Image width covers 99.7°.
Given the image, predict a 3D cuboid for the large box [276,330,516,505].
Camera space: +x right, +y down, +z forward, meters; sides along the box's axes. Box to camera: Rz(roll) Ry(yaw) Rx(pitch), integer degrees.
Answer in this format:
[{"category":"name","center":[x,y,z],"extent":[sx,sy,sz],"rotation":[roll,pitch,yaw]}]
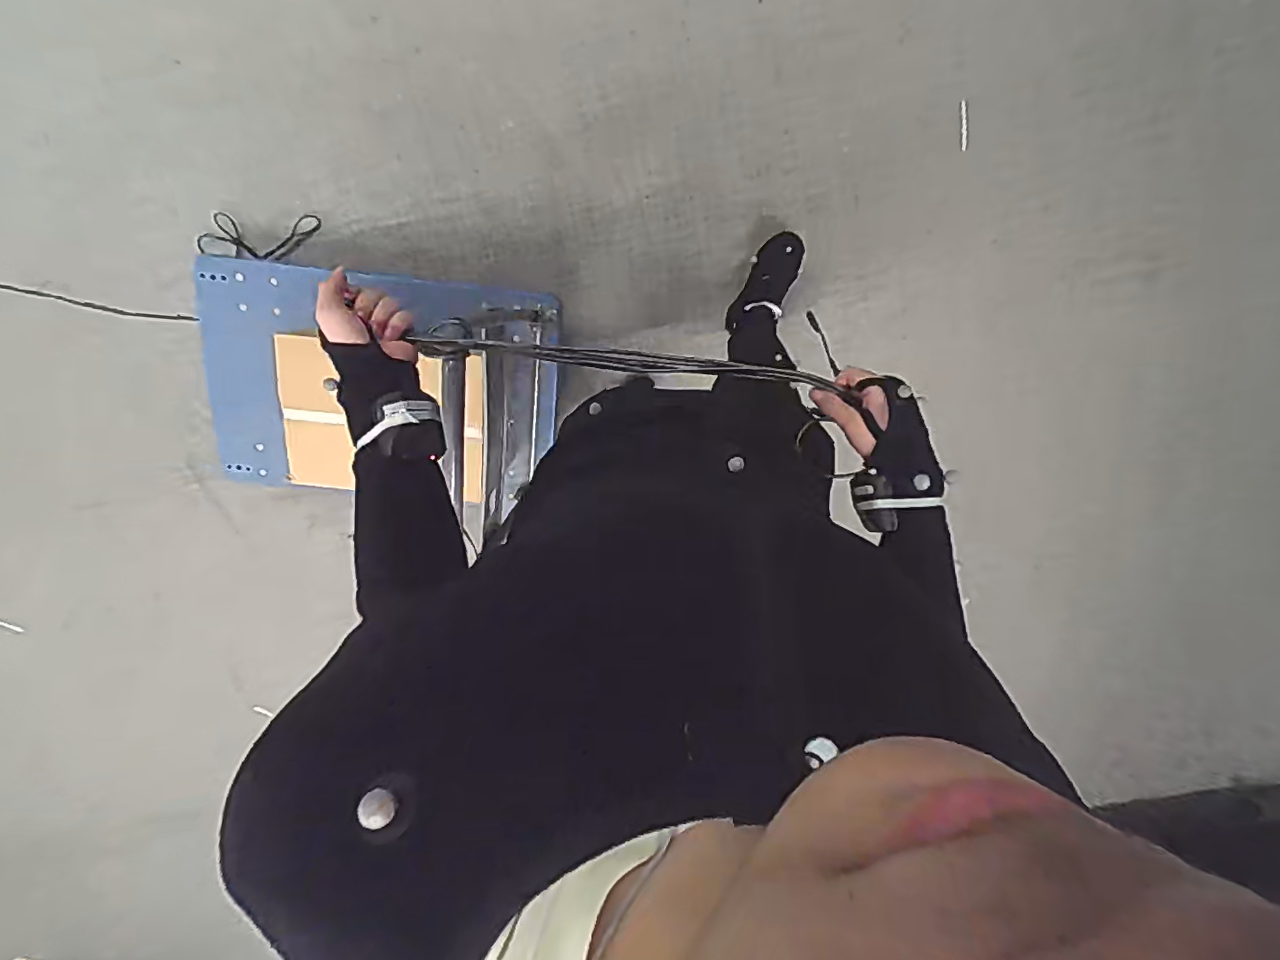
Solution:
[{"category":"large box","center":[-0.511,-0.157,1.225],"extent":[0.408,0.320,0.320],"rotation":[6,108,-1]}]
